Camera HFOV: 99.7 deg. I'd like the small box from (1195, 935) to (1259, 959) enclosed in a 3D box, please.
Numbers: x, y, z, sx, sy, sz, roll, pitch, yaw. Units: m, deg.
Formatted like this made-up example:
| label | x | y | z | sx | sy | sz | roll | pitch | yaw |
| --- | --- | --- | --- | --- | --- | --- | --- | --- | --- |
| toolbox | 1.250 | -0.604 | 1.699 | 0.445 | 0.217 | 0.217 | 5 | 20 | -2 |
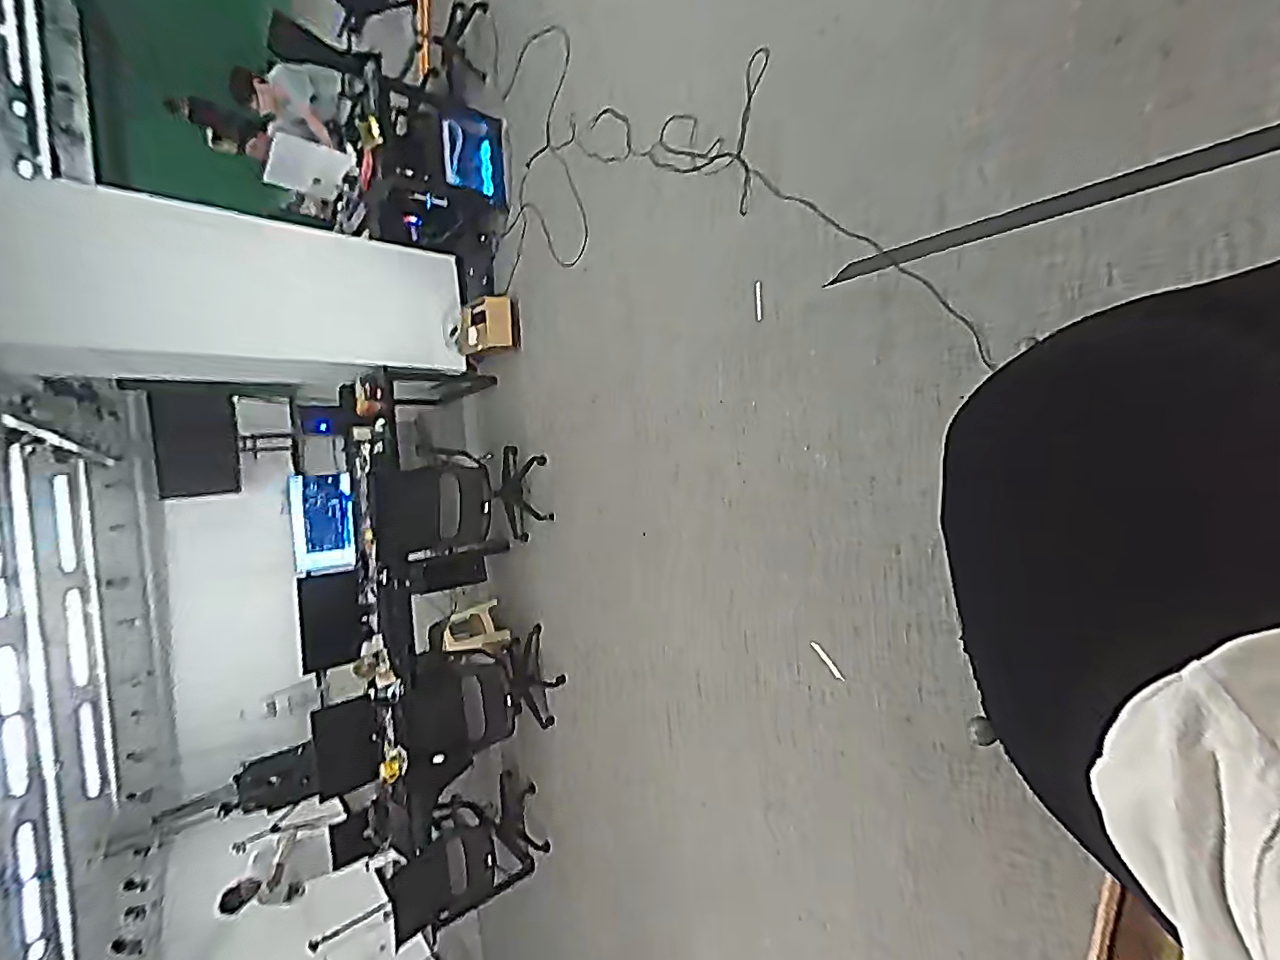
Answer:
| label | x | y | z | sx | sy | sz | roll | pitch | yaw |
| --- | --- | --- | --- | --- | --- | --- | --- | --- | --- |
| small box | 0.940 | 0.859 | 0.817 | 0.168 | 0.176 | 0.179 | 22 | 113 | 46 |
